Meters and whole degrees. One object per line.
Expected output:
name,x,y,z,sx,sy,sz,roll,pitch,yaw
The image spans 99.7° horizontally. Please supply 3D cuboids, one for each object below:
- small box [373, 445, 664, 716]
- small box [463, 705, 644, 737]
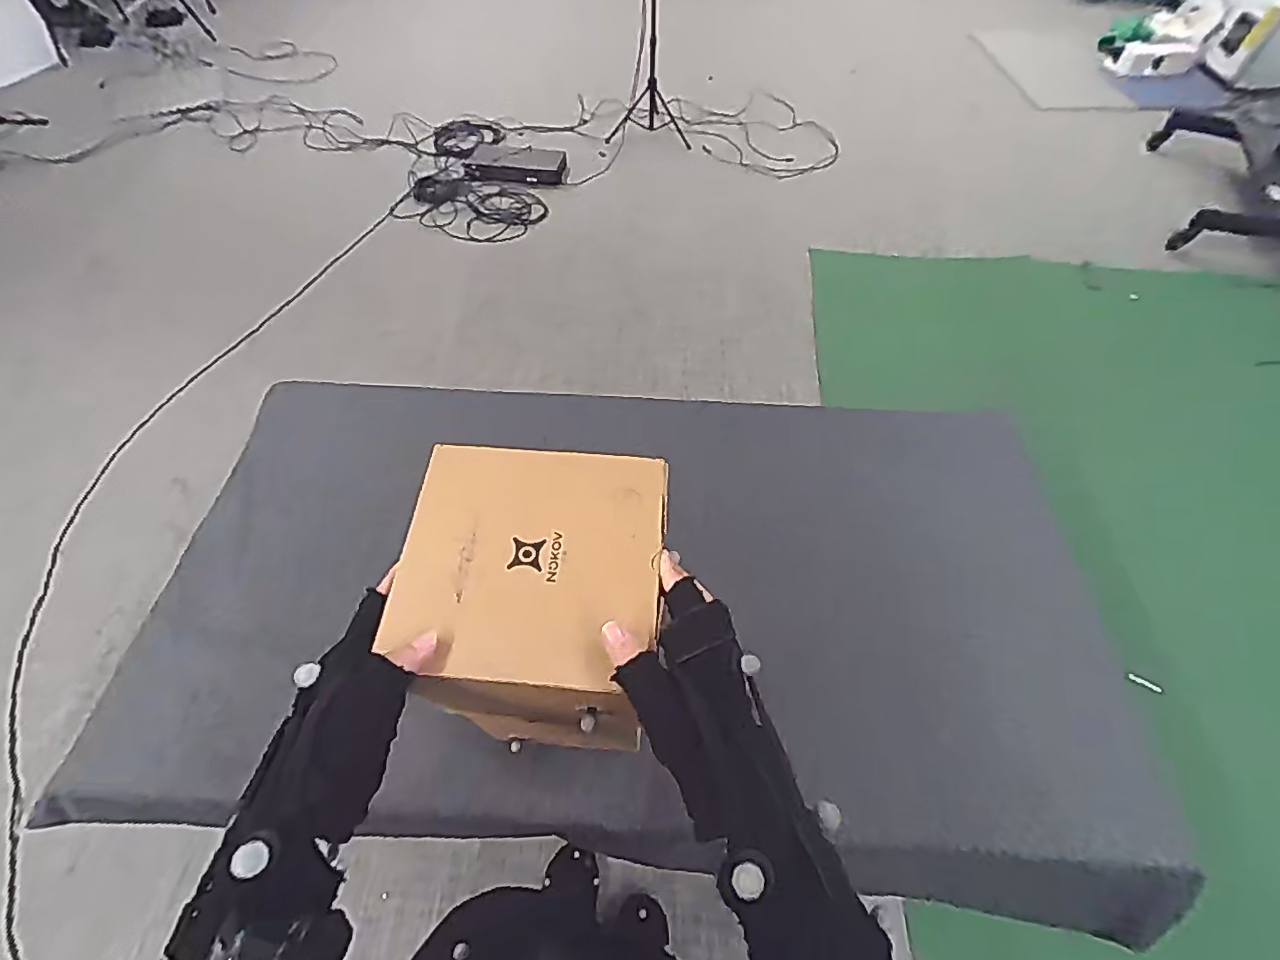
small box,-0.073,0.089,0.436,0.179,0.176,0.168,2,59,2
small box,-0.078,0.182,0.602,0.168,0.176,0.179,0,57,1
